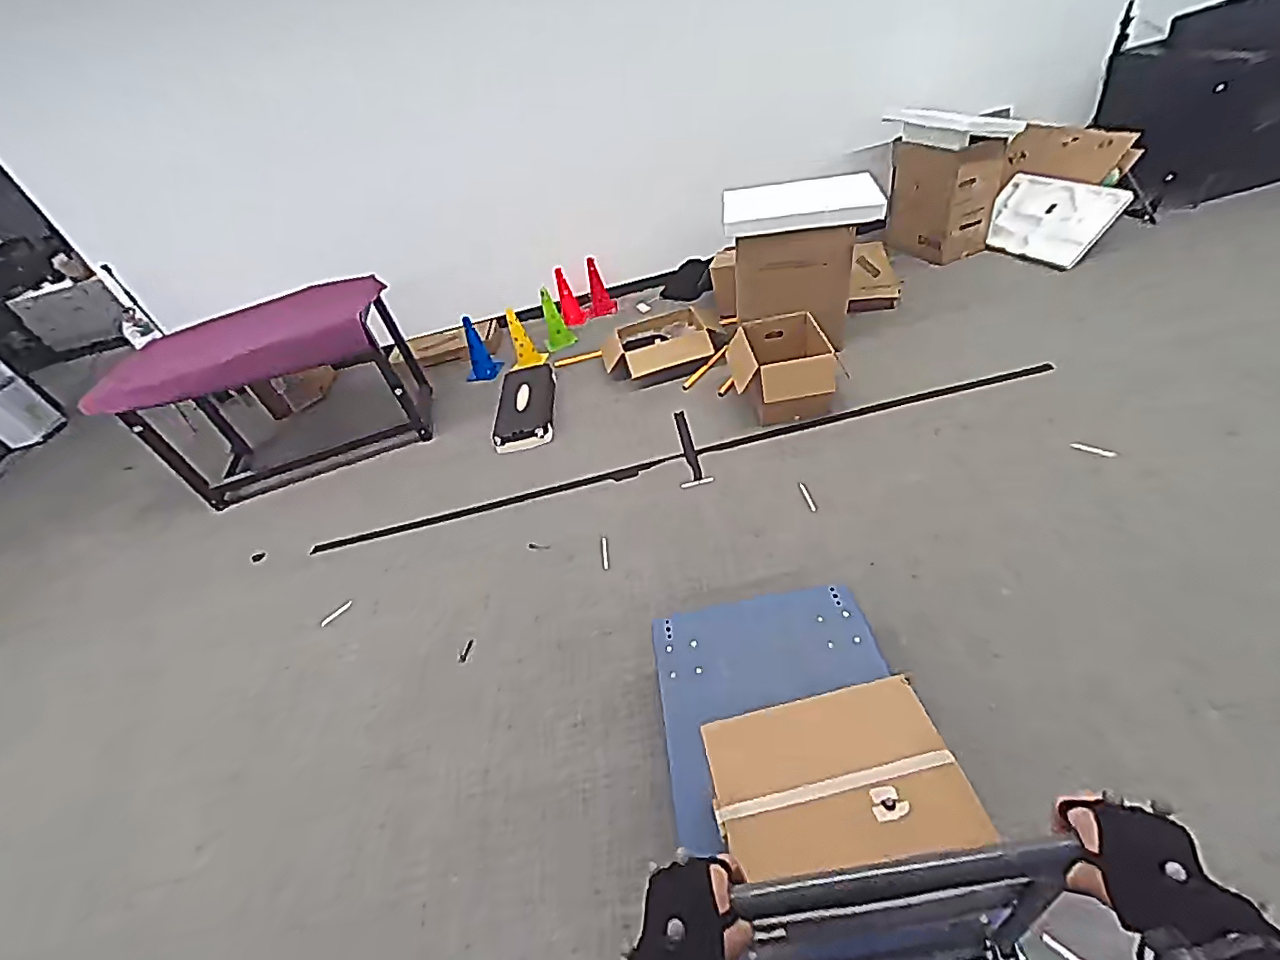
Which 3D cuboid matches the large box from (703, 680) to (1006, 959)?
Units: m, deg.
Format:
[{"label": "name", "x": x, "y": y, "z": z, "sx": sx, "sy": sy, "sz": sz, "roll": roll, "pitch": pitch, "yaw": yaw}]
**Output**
[{"label": "large box", "x": 0.361, "y": 0.638, "z": 1.015, "sx": 0.408, "sy": 0.320, "sz": 0.320, "roll": -14, "pitch": 41, "yaw": -1}]
